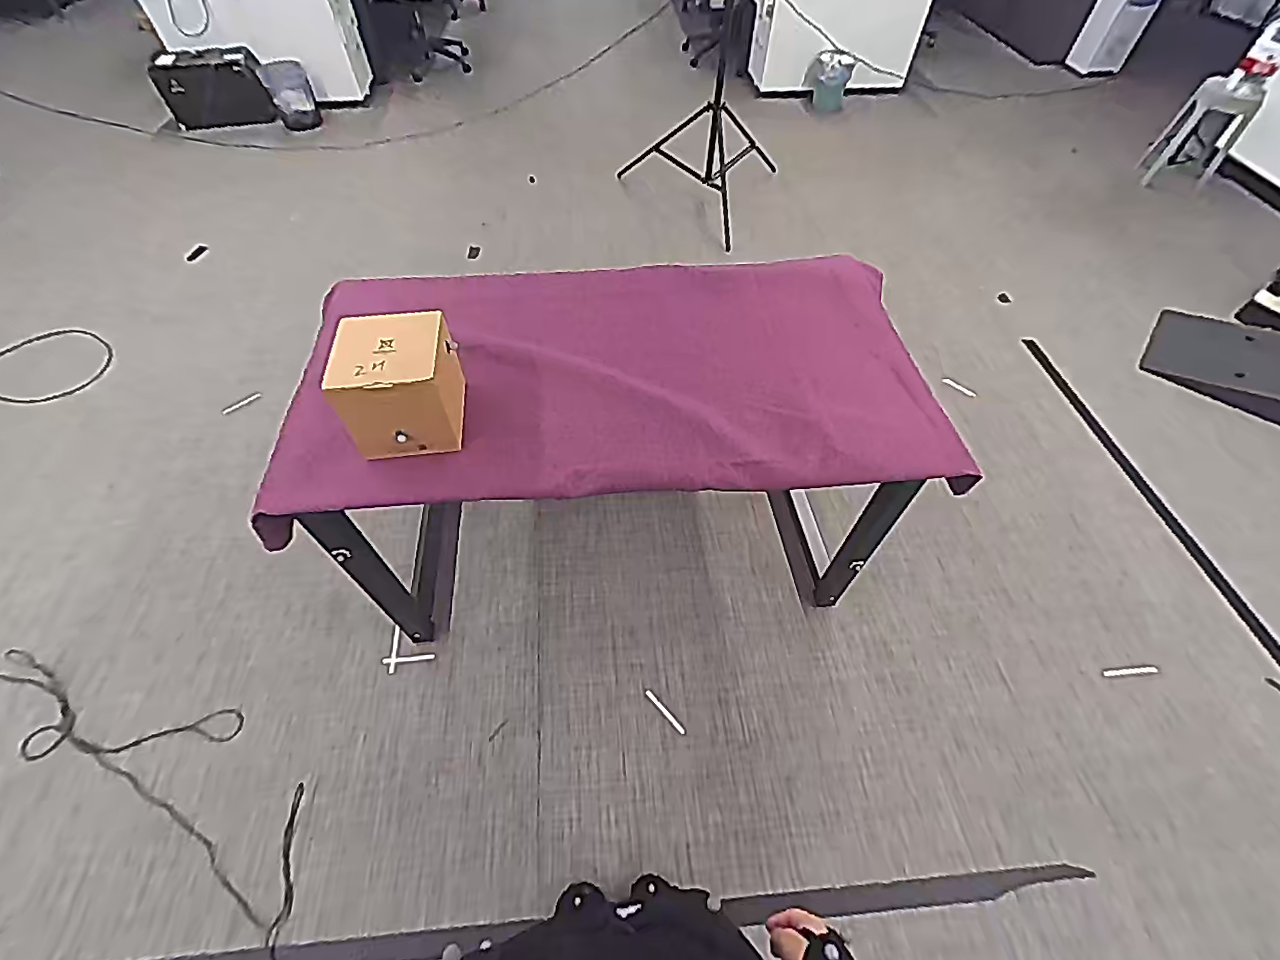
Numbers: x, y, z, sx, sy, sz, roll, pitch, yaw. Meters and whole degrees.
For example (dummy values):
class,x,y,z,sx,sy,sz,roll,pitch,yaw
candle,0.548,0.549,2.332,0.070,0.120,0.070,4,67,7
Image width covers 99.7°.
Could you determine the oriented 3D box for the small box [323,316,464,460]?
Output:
class,x,y,z,sx,sy,sz,roll,pitch,yaw
small box,-0.407,-0.157,0.929,0.168,0.176,0.179,-6,54,-5
